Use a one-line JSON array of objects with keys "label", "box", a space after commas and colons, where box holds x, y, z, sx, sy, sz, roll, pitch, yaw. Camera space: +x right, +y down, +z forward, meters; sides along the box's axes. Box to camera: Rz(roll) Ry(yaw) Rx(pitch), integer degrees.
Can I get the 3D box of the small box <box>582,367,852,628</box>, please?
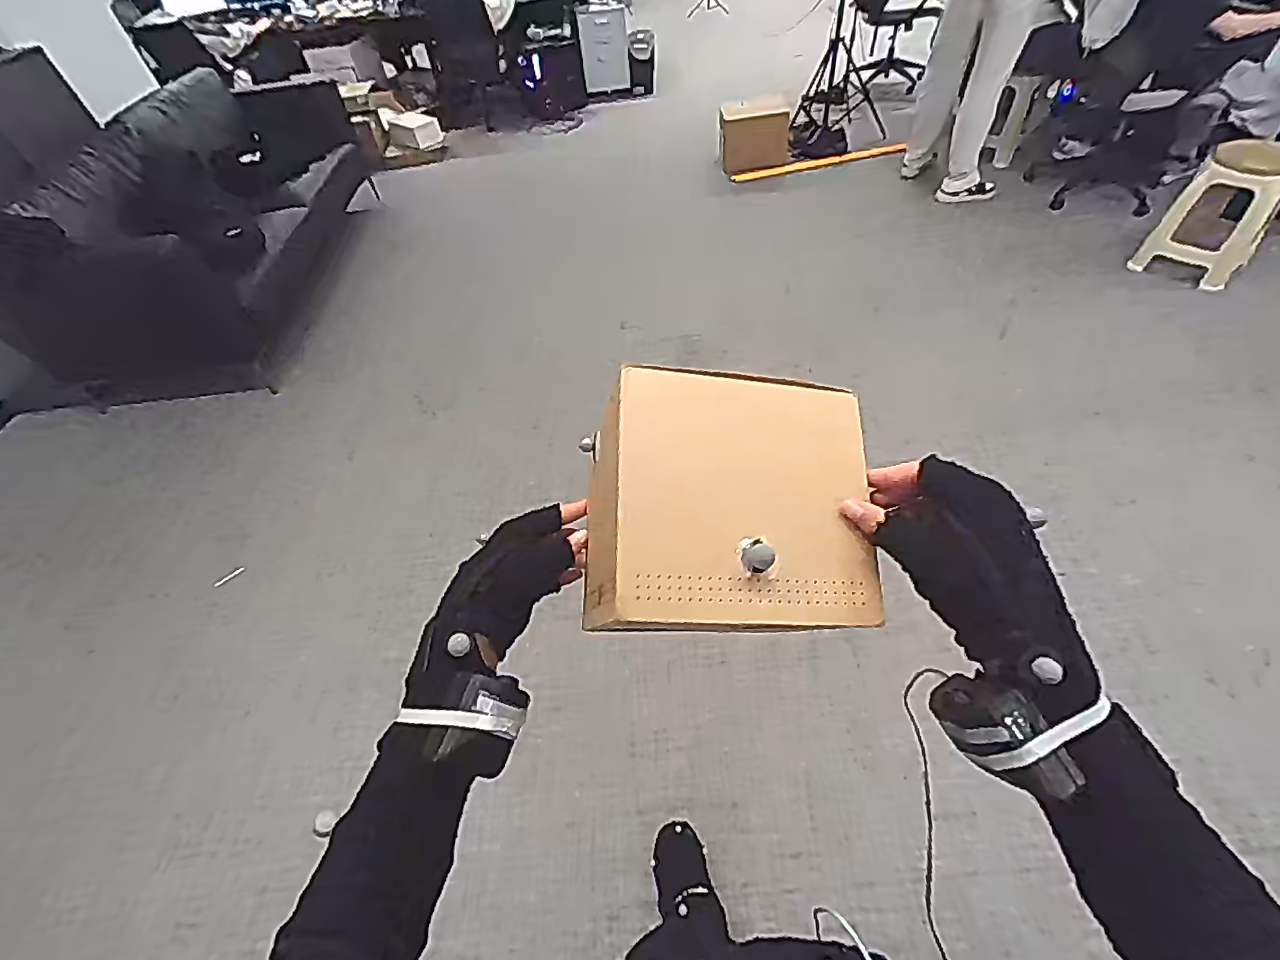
[{"label": "small box", "box": [0.051, 0.030, 0.433, 0.179, 0.168, 0.176, 4, 72, -11]}]
